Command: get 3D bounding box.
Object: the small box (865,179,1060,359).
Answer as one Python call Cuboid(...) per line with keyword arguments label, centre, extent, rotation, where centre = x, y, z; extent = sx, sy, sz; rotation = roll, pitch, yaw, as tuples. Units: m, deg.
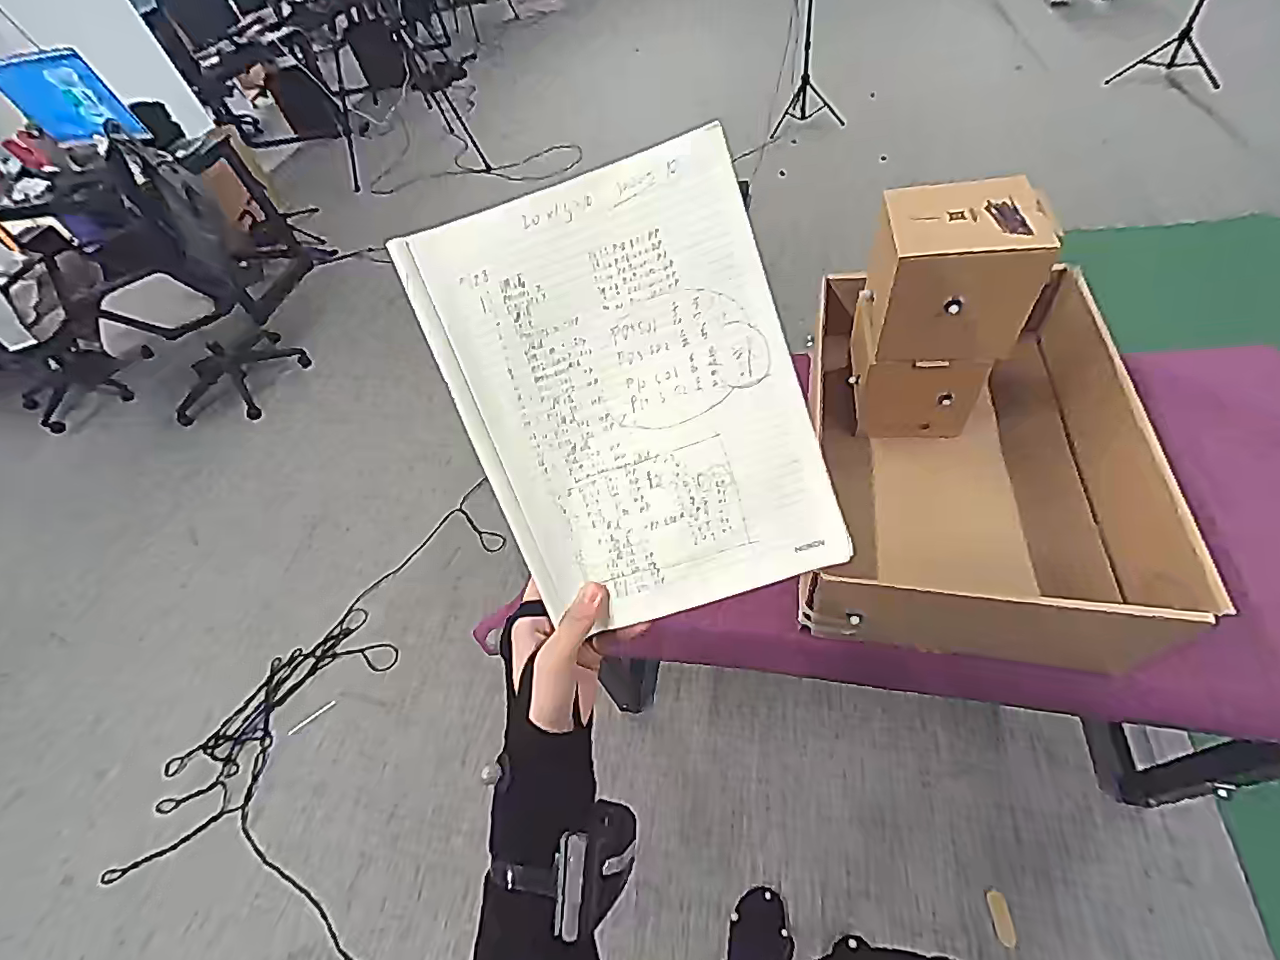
Cuboid(label="small box", centre=(0.421, -0.282, 0.742), extent=(0.179, 0.176, 0.168), rotation=(2, 54, 13))
